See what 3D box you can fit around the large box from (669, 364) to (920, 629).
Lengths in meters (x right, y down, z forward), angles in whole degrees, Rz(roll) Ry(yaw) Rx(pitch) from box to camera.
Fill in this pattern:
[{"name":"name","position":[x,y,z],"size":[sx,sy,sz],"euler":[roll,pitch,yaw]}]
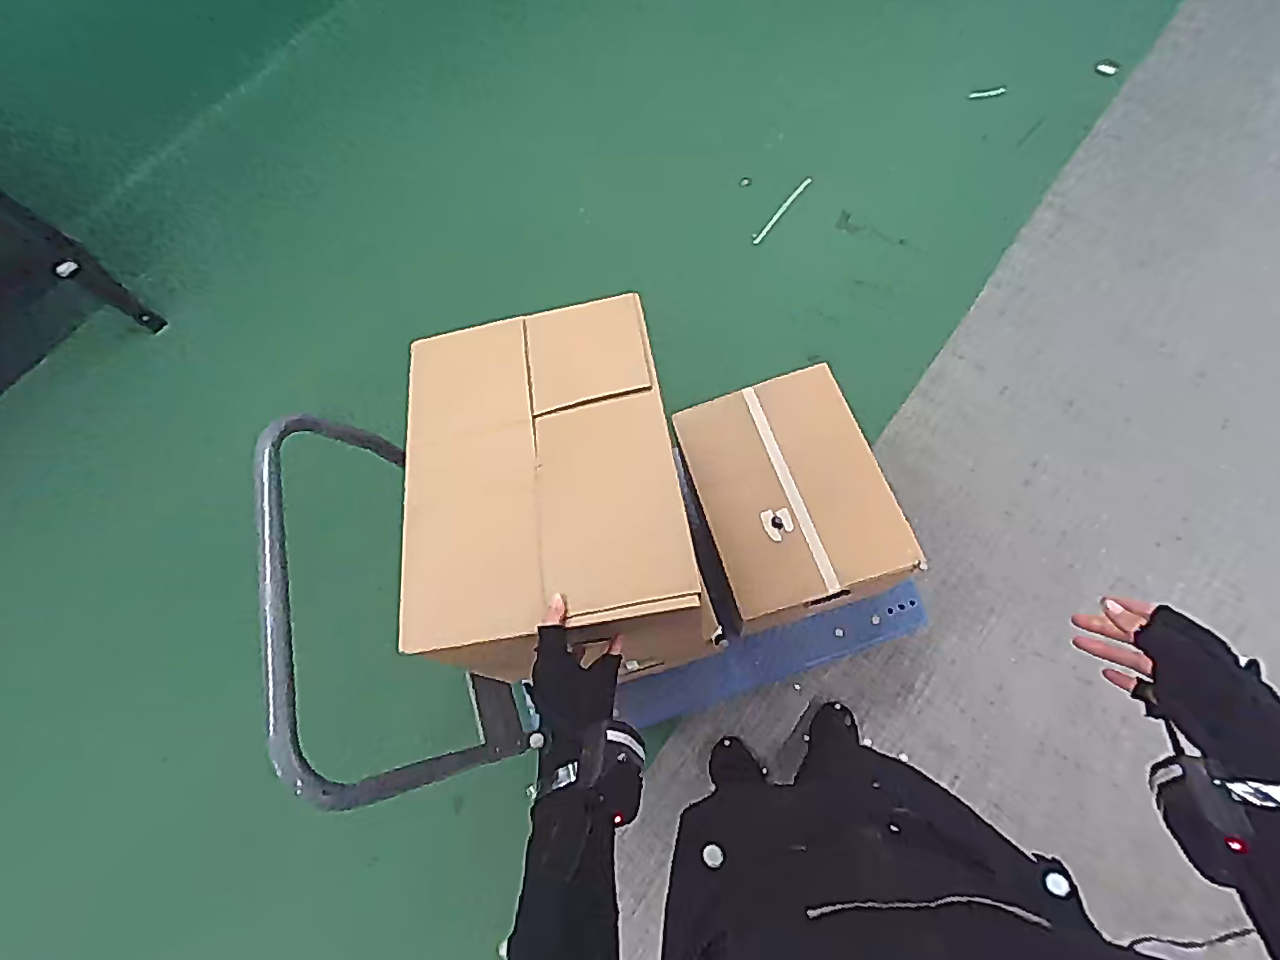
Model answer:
[{"name":"large box","position":[0.274,0.049,1.088],"size":[0.320,0.320,0.408],"euler":[-18,69,2]}]
